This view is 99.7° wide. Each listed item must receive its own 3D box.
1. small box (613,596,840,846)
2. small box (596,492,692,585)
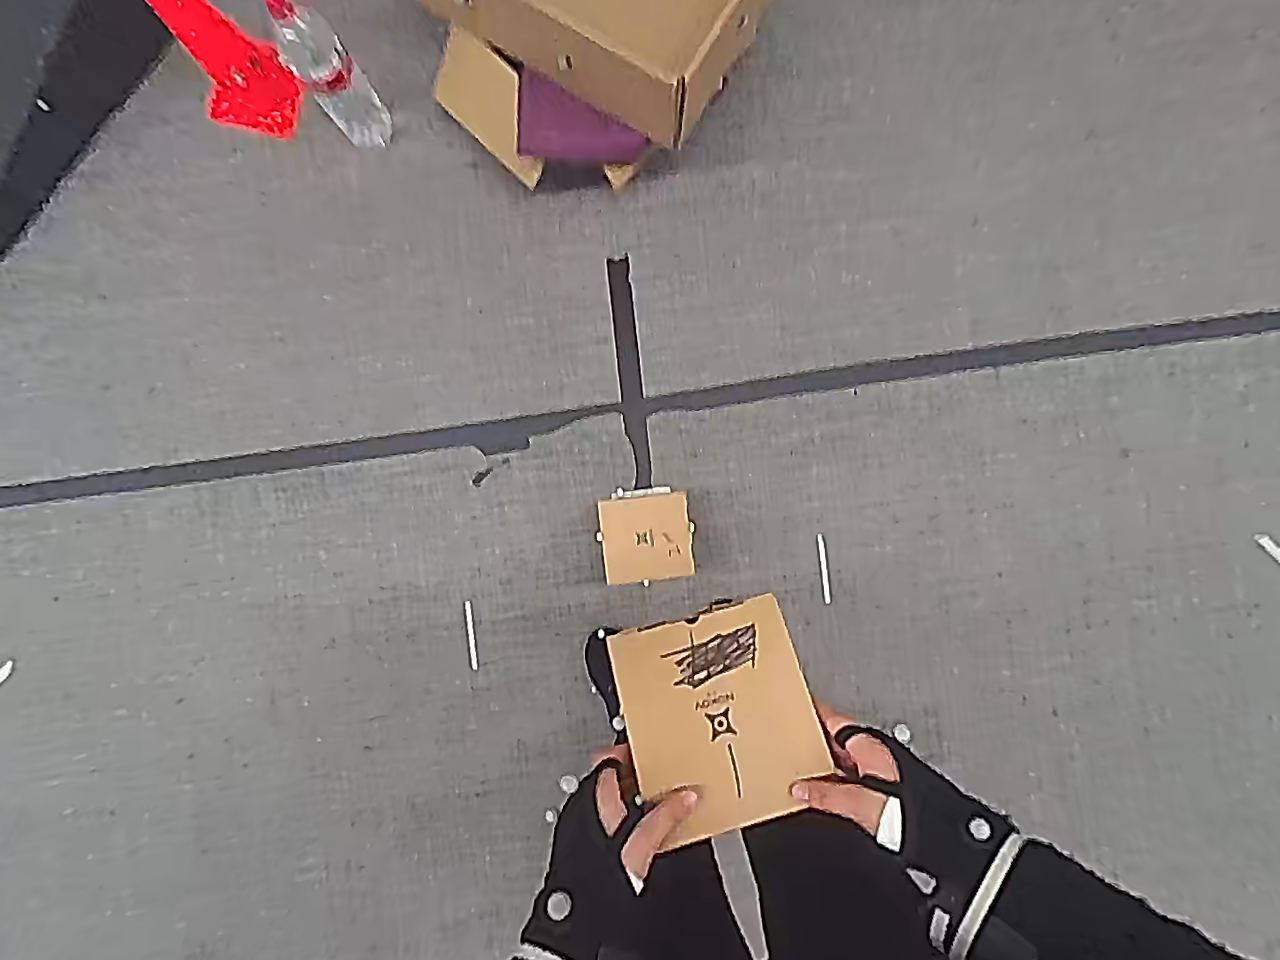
[{"bbox_3d":[0.071,0.237,0.553,0.168,0.176,0.179,-14,68,-4],"label":"small box"},{"bbox_3d":[0.008,0.115,1.125,0.179,0.176,0.168,-6,90,0],"label":"small box"}]
